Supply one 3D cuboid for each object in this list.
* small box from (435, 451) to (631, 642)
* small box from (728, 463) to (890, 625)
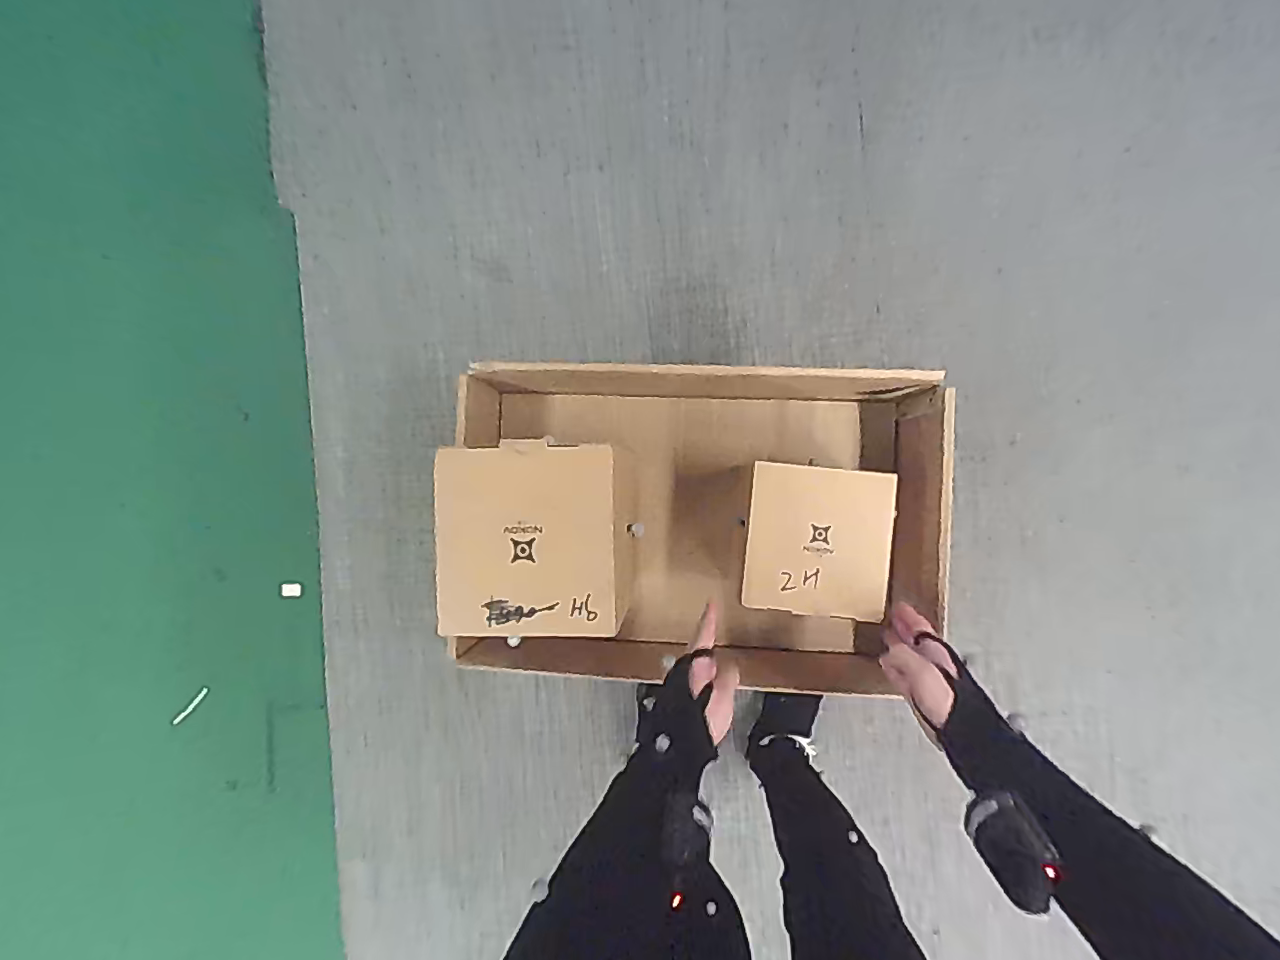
[{"bbox_3d":[-0.102,0.064,0.579,0.168,0.176,0.179,-1,89,7],"label":"small box"},{"bbox_3d":[0.209,0.075,0.713,0.168,0.176,0.179,6,91,6],"label":"small box"}]
